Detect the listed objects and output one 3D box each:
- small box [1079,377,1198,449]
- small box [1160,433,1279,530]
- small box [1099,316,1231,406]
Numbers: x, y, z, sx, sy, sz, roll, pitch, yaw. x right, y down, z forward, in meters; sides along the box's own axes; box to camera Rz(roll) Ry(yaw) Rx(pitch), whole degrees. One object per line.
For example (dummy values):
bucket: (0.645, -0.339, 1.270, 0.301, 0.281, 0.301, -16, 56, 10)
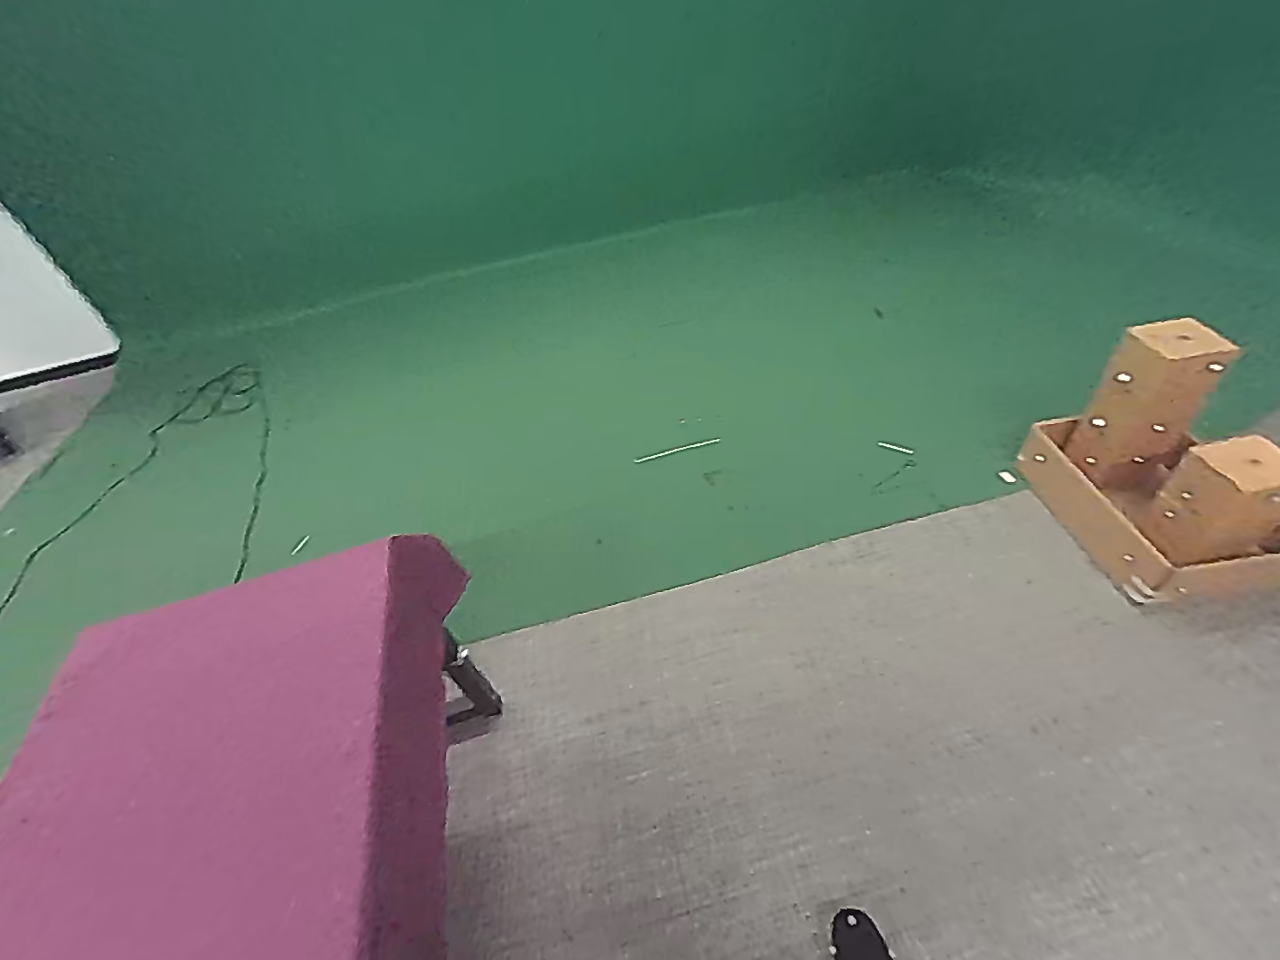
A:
small box: (1.489, -0.214, 1.631, 0.179, 0.176, 0.168, -8, 45, 6)
small box: (1.521, 0.006, 1.395, 0.179, 0.176, 0.168, -12, 43, 3)
small box: (1.459, -0.332, 1.519, 0.179, 0.176, 0.168, -10, 45, 4)
